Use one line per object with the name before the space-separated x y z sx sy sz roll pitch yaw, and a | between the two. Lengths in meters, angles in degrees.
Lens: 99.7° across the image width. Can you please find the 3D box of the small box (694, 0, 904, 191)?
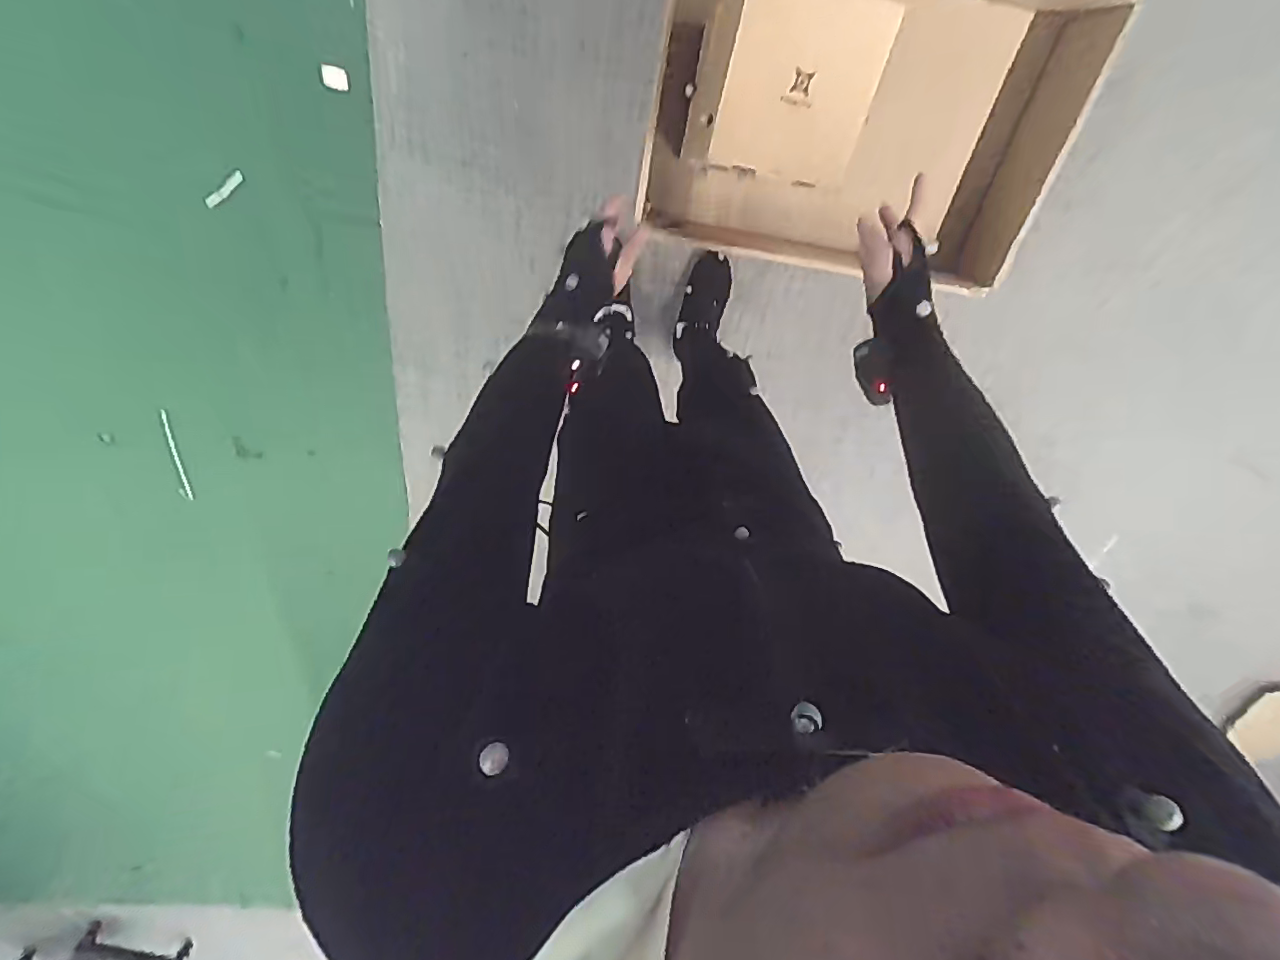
small box | 0.169 -0.467 0.648 0.168 0.176 0.179 9 122 -8
